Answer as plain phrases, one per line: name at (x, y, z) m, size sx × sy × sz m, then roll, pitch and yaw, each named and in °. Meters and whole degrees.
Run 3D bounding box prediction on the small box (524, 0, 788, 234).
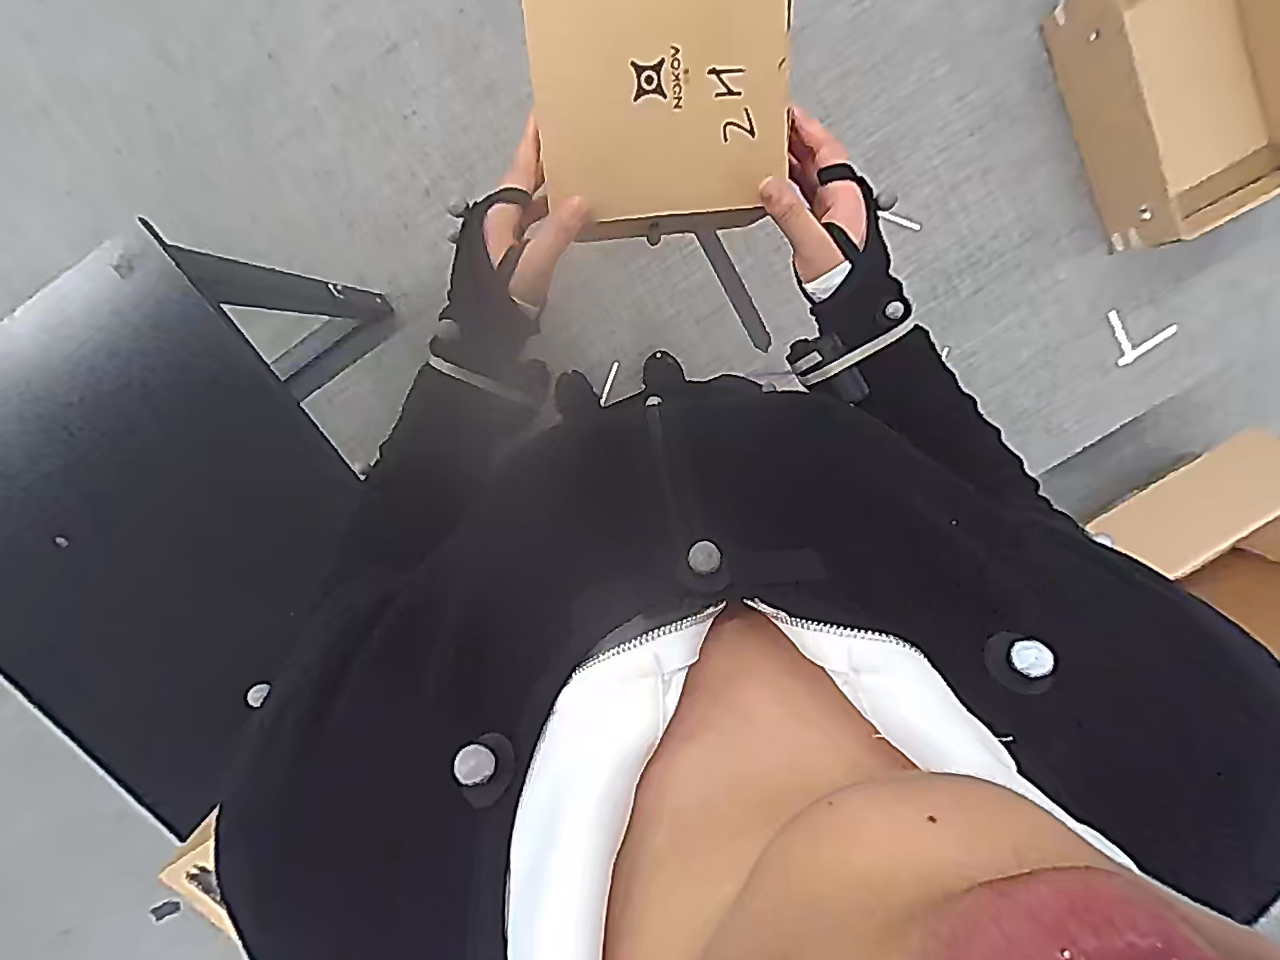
small box at (0.014, -0.303, 0.444) m, size 0.179 × 0.176 × 0.168 m, roll -5°, pitch 111°, yaw 1°
